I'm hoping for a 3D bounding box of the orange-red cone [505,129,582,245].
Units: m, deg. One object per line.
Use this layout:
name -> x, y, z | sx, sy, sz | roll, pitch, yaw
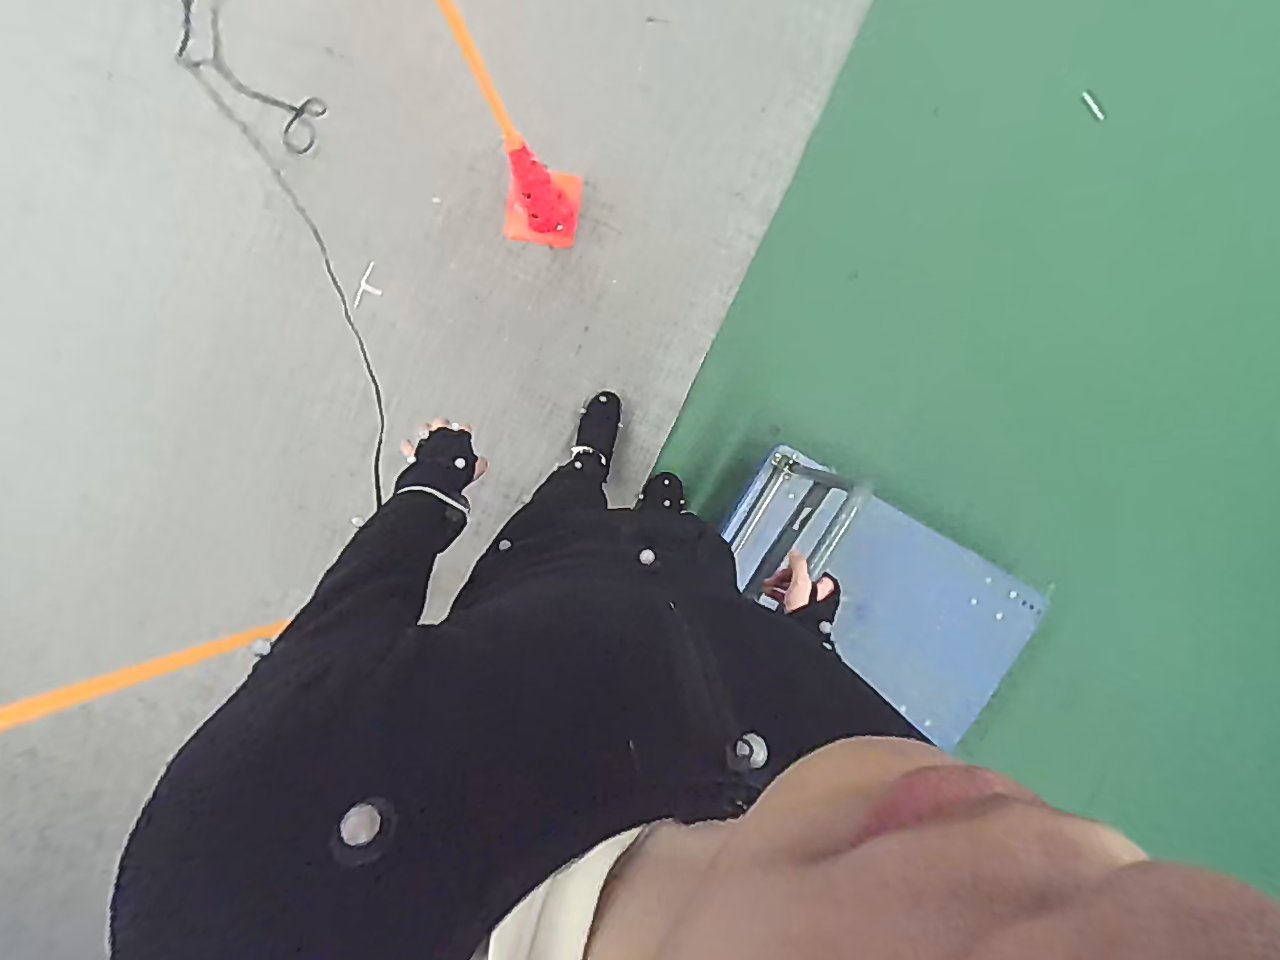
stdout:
orange-red cone -> -0.270, -0.765, 1.355 | 0.198, 0.360, 0.199 | 11, 94, -1
